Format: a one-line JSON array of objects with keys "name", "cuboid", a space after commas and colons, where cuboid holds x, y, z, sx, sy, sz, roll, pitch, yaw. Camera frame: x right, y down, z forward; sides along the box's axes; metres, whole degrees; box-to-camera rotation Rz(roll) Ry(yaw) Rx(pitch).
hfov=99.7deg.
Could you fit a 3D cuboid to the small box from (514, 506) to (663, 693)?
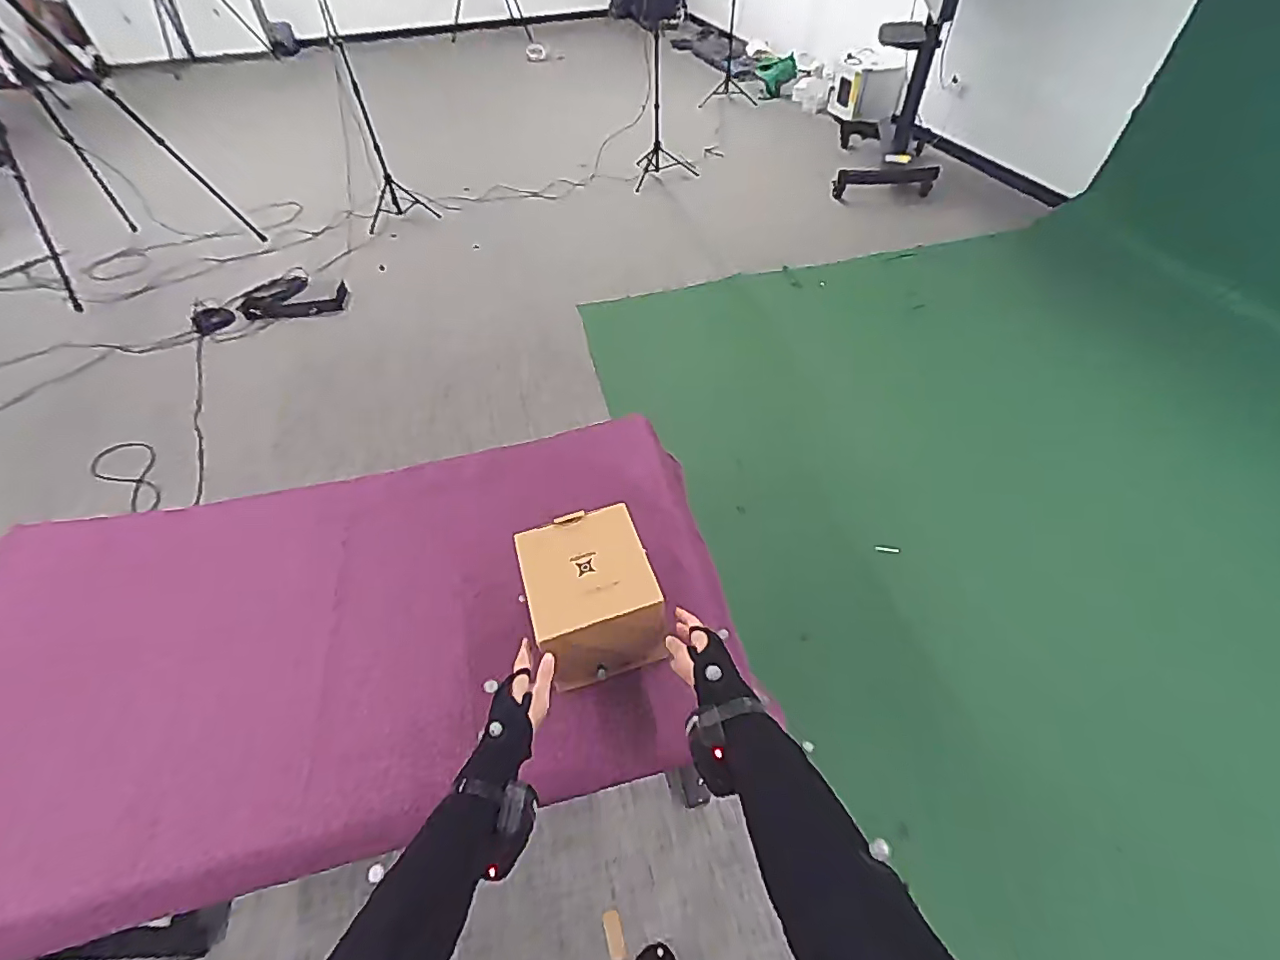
[{"name": "small box", "cuboid": [-0.071, 0.170, 0.768, 0.168, 0.176, 0.179, -16, 49, -9]}]
